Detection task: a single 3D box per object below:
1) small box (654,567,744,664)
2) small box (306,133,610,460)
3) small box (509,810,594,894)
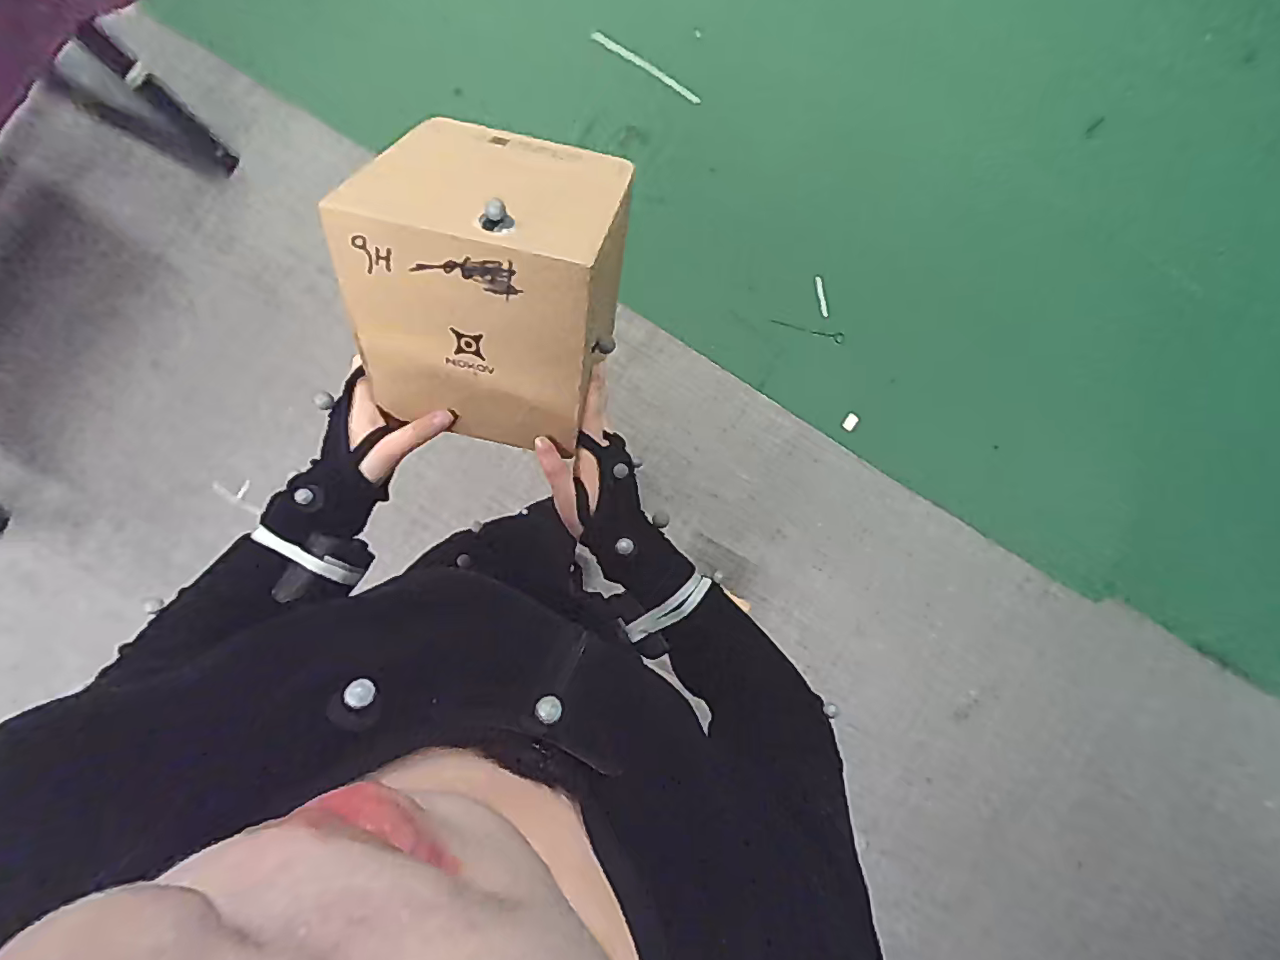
[{"bbox_3d":[0.147,0.348,1.425,0.168,0.176,0.179,31,86,-2],"label":"small box"},{"bbox_3d":[-0.125,-0.147,0.445,0.168,0.179,0.176,12,50,-1],"label":"small box"},{"bbox_3d":[-0.229,0.986,1.367,0.168,0.176,0.179,29,86,-1],"label":"small box"}]
